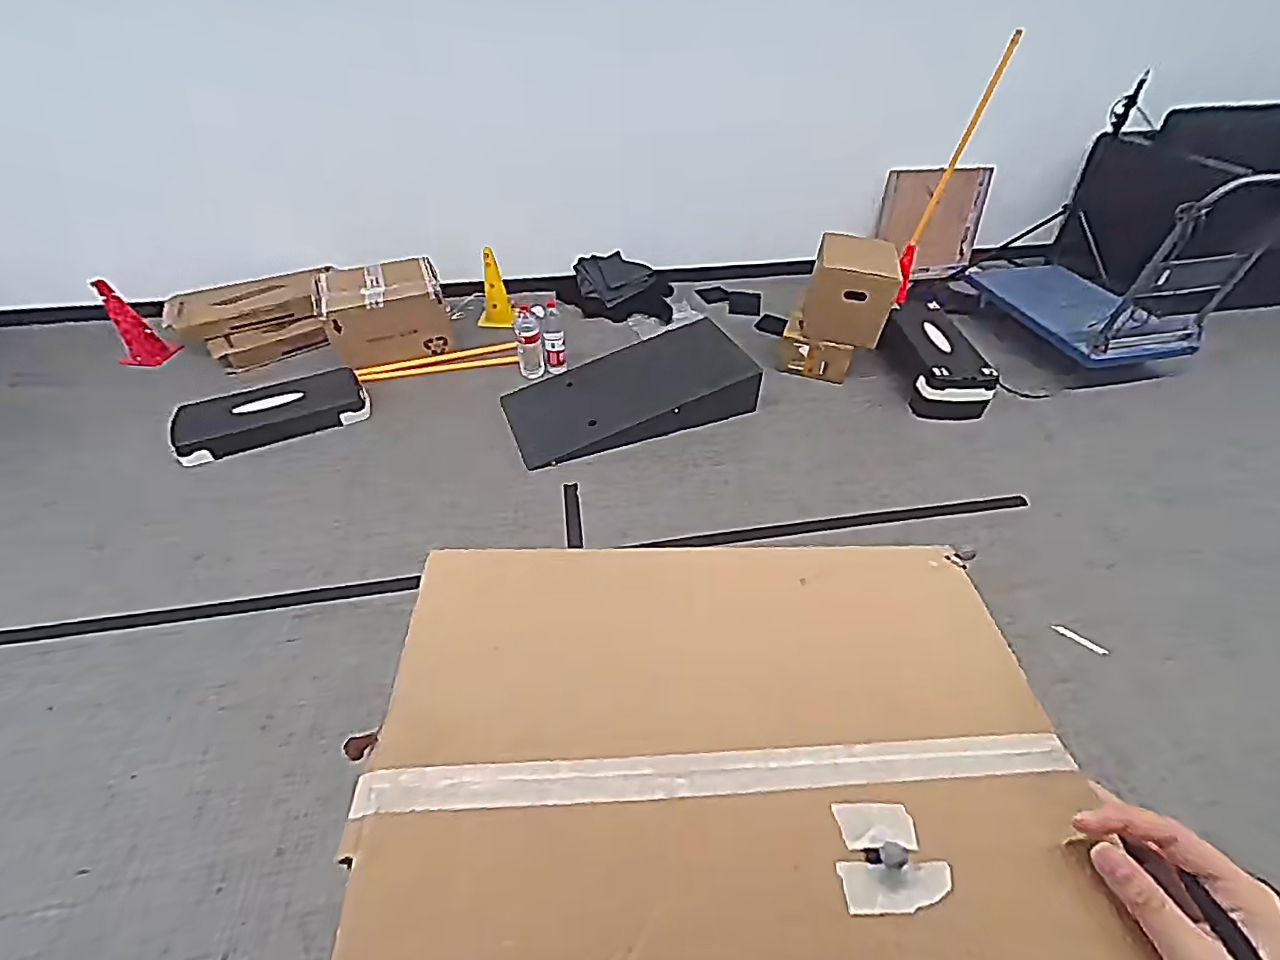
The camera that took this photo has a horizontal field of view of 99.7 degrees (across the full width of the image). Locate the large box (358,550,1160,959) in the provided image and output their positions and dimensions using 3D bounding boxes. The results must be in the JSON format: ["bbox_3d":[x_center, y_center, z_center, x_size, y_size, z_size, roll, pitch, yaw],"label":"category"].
[{"bbox_3d":[0.044,0.270,0.429,0.408,0.320,0.320,1,48,-7],"label":"large box"}]
